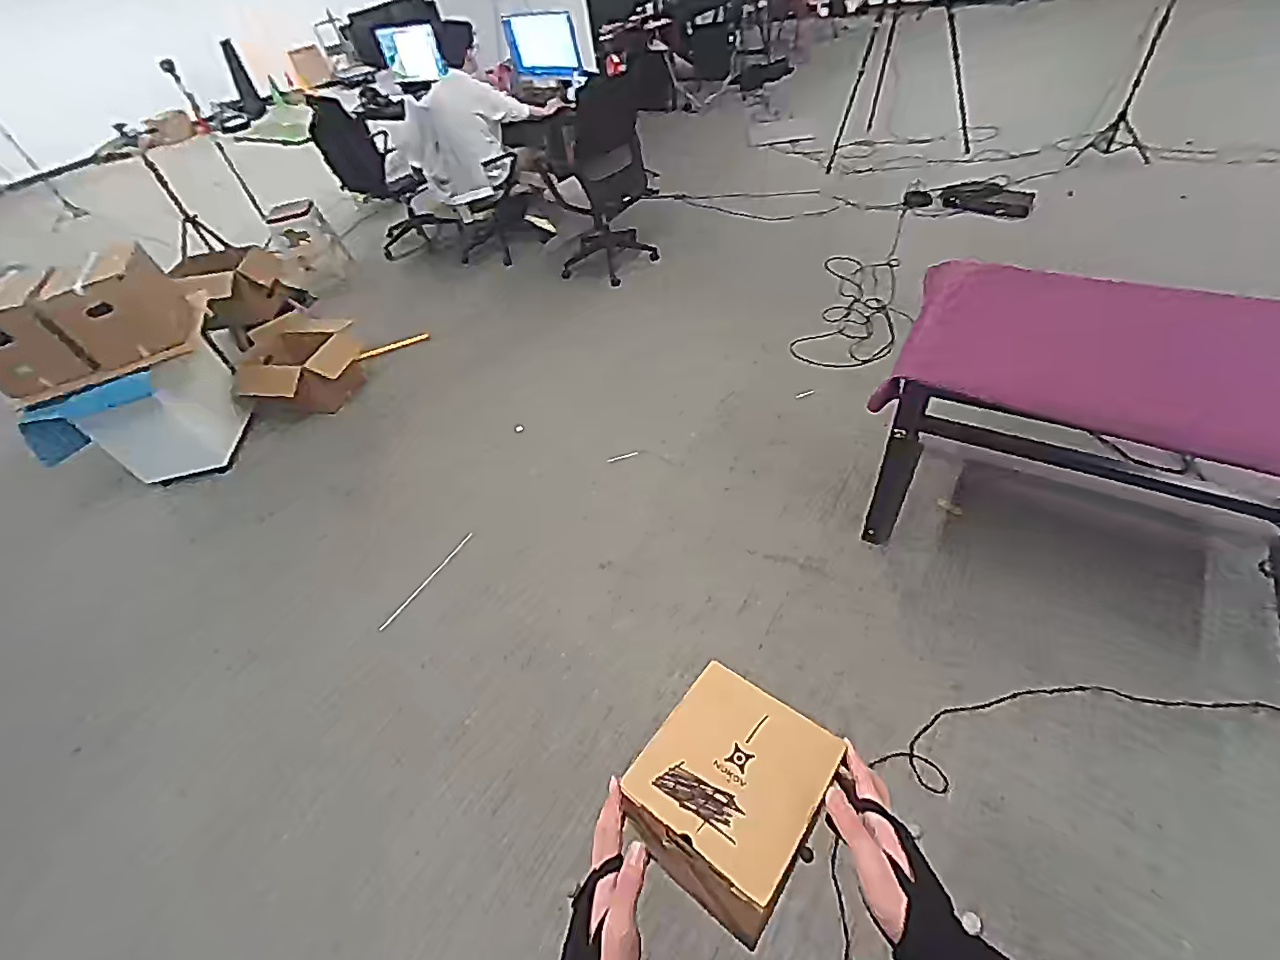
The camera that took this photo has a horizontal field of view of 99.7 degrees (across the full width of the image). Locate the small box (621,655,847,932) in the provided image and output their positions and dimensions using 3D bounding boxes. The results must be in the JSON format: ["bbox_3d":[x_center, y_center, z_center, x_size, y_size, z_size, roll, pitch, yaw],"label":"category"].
[{"bbox_3d":[0.103,0.341,0.595,0.168,0.176,0.179,26,49,31],"label":"small box"}]
